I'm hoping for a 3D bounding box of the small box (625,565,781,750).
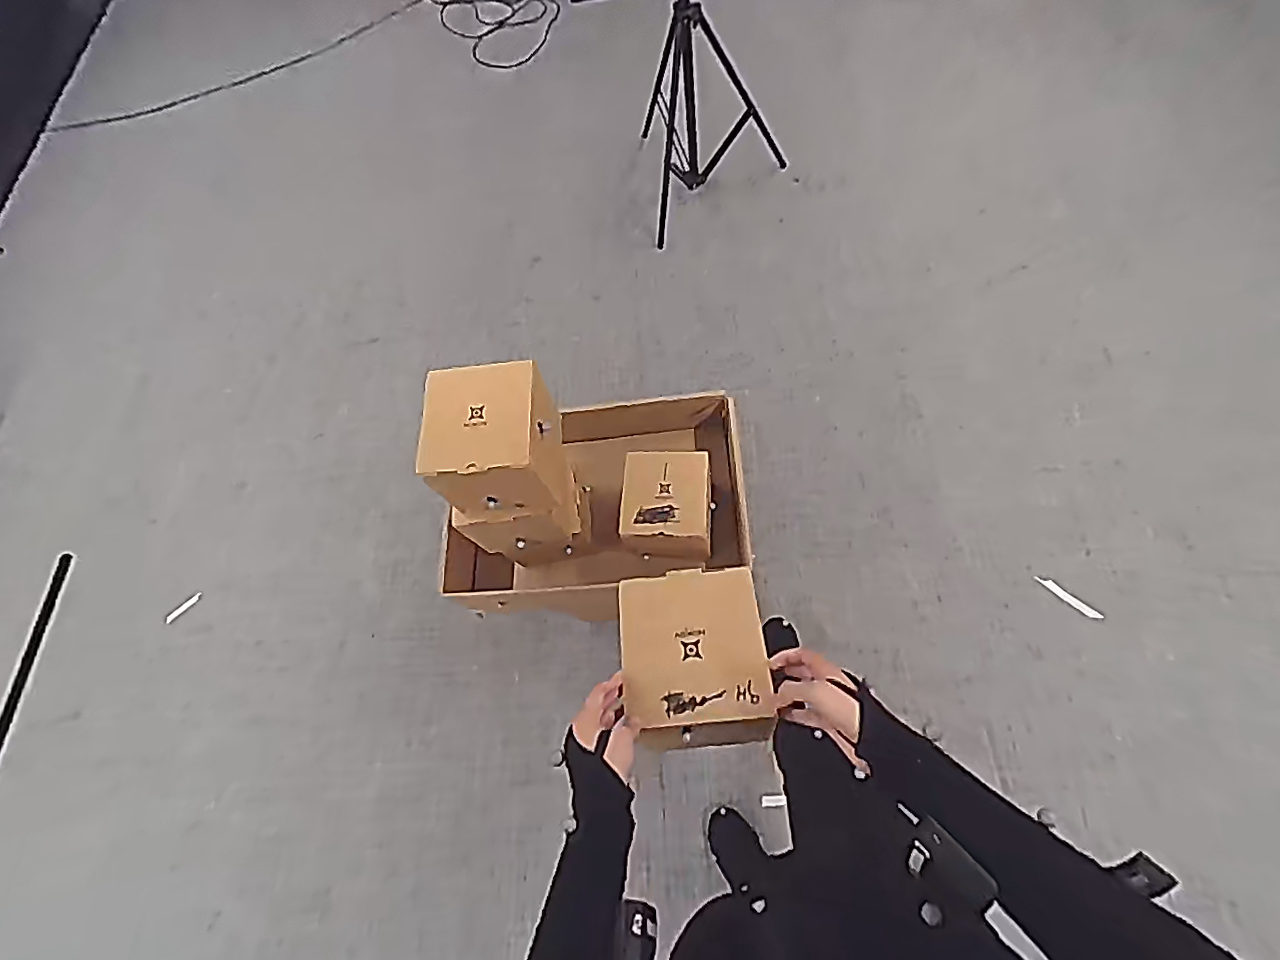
[{"bbox_3d":[0.075,0.230,0.689,0.168,0.176,0.179,-8,55,5],"label":"small box"}]

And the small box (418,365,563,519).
[{"bbox_3d":[-0.221,-0.053,0.843,0.168,0.176,0.179,-6,67,5],"label":"small box"}]

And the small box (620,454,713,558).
[{"bbox_3d":[0.061,0.058,1.104,0.168,0.176,0.179,0,68,10],"label":"small box"}]

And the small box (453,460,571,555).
[{"bbox_3d":[-0.226,0.025,0.989,0.168,0.176,0.179,-9,67,4],"label":"small box"}]
